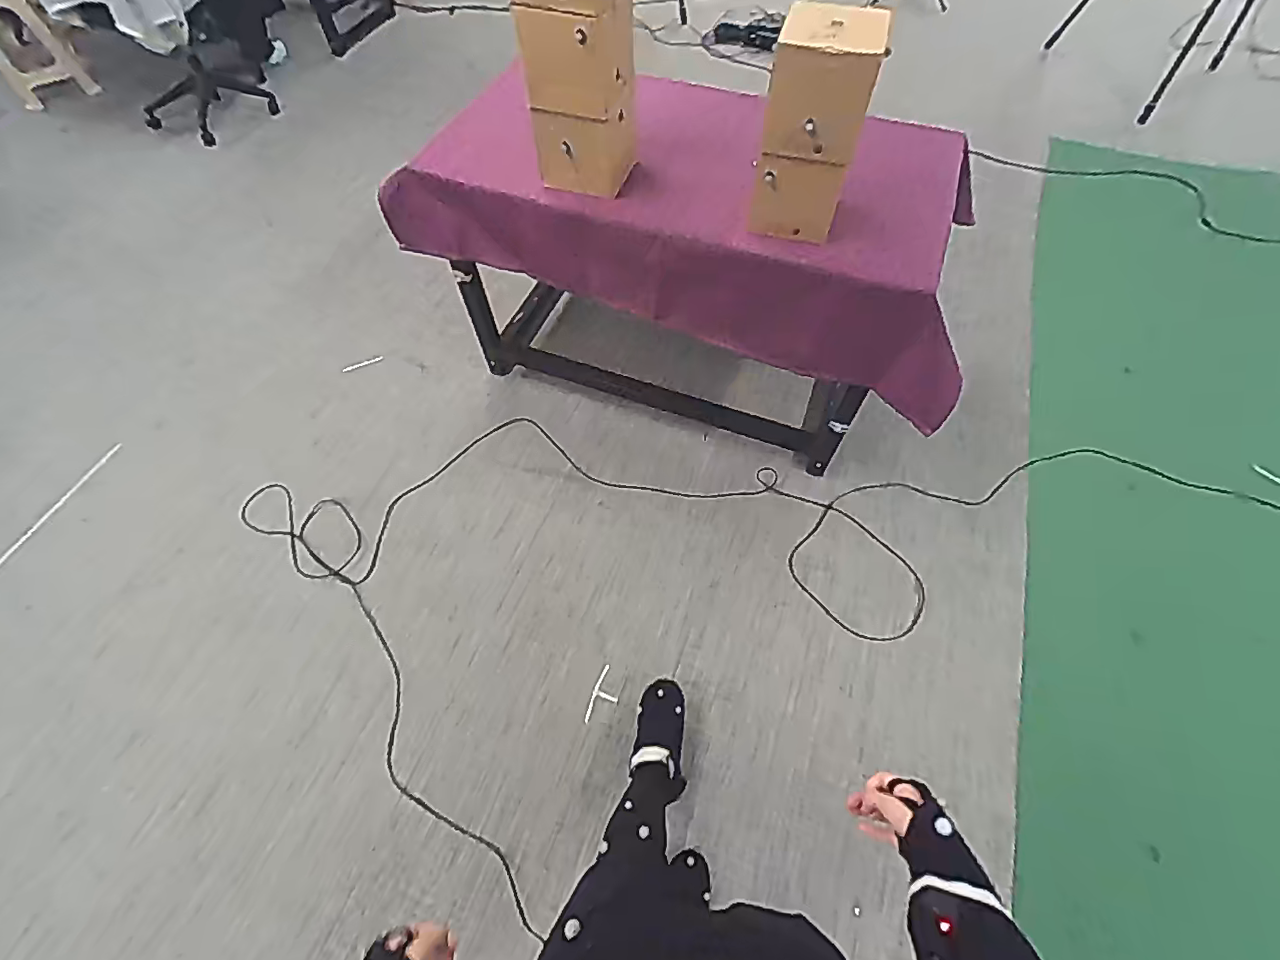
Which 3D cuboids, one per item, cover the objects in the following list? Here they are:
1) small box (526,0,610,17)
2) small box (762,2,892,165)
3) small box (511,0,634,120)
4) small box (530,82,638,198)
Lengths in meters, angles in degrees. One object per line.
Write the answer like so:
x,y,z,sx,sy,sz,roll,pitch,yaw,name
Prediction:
-0.118,-0.907,0.893,0.168,0.176,0.179,19,61,10,small box
0.318,-0.687,0.941,0.168,0.176,0.179,15,61,10,small box
-0.118,-0.823,1.033,0.179,0.176,0.168,16,61,9,small box
-0.112,-0.744,1.175,0.179,0.176,0.168,16,62,10,small box
